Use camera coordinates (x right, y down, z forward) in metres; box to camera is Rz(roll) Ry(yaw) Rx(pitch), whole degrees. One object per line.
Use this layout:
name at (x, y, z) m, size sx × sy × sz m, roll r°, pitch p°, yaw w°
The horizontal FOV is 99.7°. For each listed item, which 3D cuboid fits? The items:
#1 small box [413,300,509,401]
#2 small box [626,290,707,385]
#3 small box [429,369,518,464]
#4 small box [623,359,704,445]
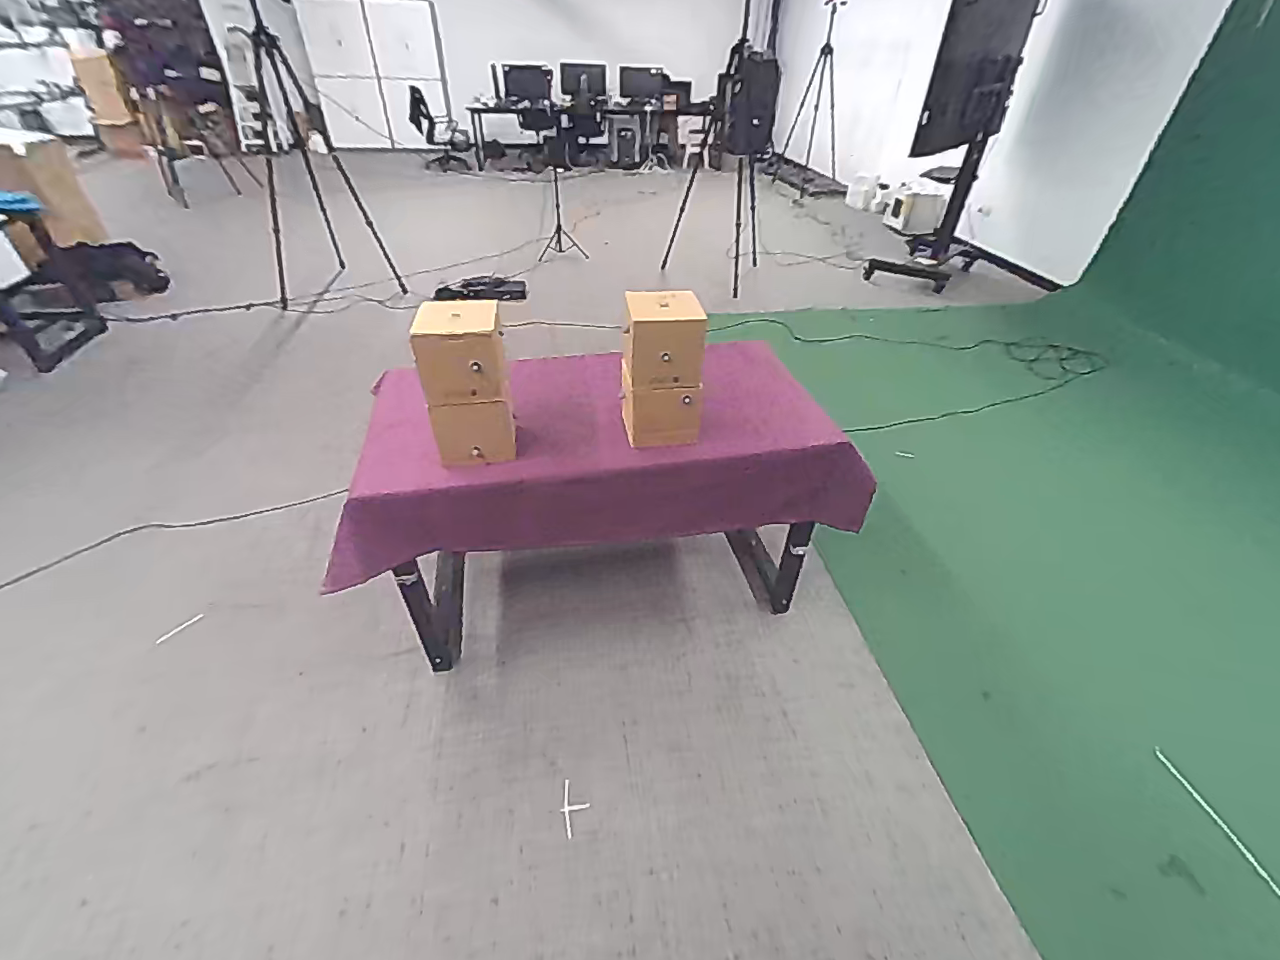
small box at (-0.386, -0.284, 1.200) m, size 0.168 × 0.176 × 0.179 m, roll -4°, pitch 39°, yaw -7°
small box at (0.057, -0.332, 1.272) m, size 0.168 × 0.176 × 0.179 m, roll -3°, pitch 39°, yaw -6°
small box at (-0.390, -0.153, 1.299) m, size 0.179 × 0.176 × 0.168 m, roll -5°, pitch 39°, yaw -9°
small box at (0.054, -0.200, 1.372) m, size 0.179 × 0.176 × 0.168 m, roll -4°, pitch 39°, yaw -8°
